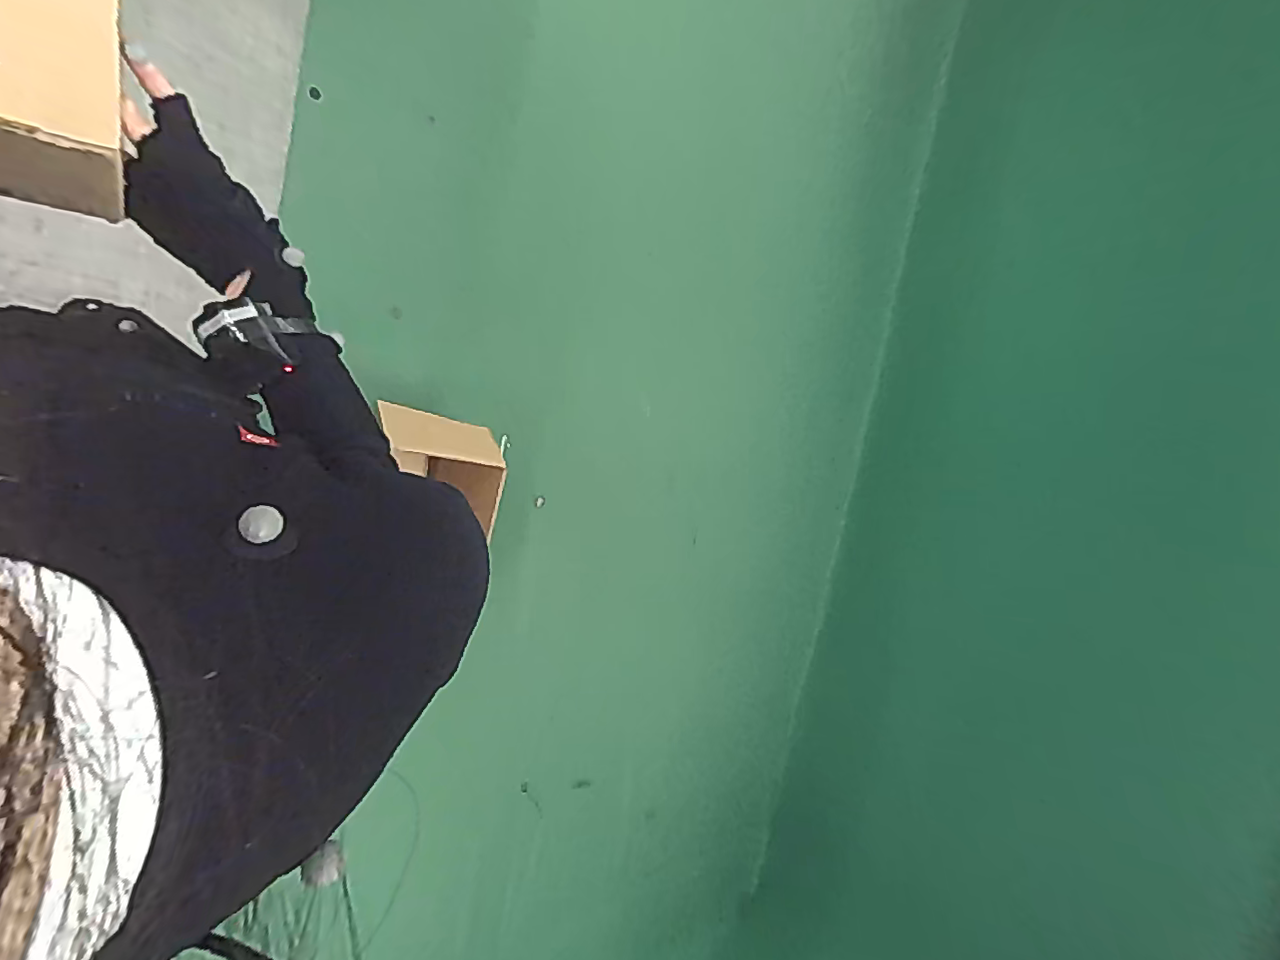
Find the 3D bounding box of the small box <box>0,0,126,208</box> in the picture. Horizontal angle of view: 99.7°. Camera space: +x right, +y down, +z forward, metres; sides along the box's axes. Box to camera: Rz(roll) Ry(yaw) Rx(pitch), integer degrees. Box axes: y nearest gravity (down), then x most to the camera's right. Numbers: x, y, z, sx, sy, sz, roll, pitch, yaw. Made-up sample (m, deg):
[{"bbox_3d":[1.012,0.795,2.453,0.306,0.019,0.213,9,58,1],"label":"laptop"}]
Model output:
[{"bbox_3d":[-0.393,-0.273,0.292,0.168,0.176,0.179,-3,99,-44],"label":"small box"}]
